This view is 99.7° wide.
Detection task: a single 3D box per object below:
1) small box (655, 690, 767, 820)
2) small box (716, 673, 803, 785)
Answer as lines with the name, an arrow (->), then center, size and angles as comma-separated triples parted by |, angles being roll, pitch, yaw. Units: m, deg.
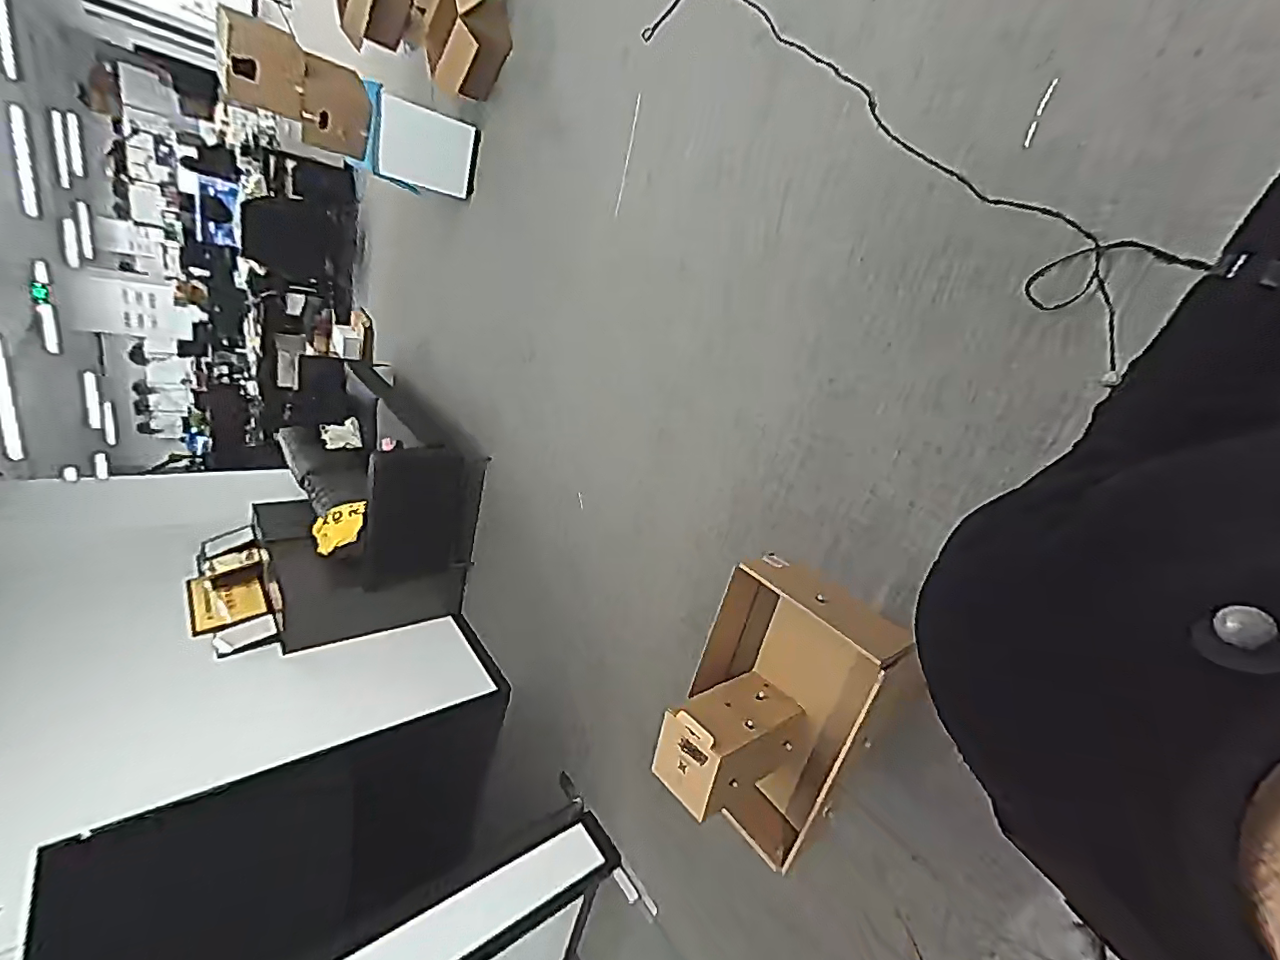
small box -> 0.164, 0.610, 1.226 | 0.168, 0.176, 0.179 | 28, 112, 44
small box -> 0.279, 0.609, 1.344 | 0.168, 0.176, 0.179 | 30, 112, 44
